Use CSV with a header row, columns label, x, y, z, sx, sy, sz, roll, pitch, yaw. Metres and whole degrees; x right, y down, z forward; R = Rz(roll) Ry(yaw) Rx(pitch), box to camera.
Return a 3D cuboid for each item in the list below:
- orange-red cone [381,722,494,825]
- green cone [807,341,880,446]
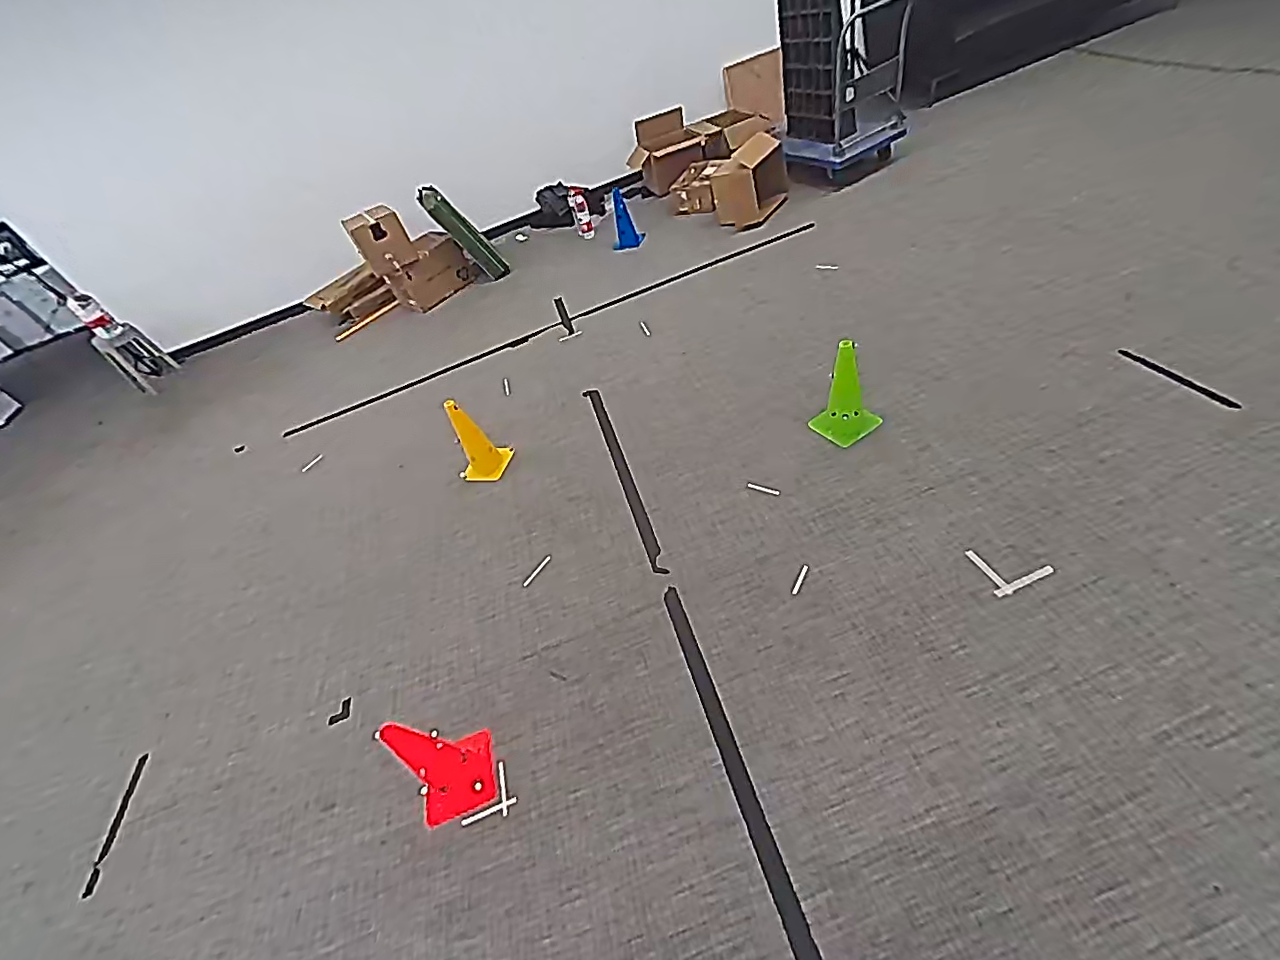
label,x,y,z,sx,sy,sz,roll,pitch,yaw
orange-red cone,-0.541,0.699,1.372,0.198,0.360,0.199,-22,42,-2
green cone,0.723,-0.333,1.924,0.200,0.368,0.202,-33,46,-12
